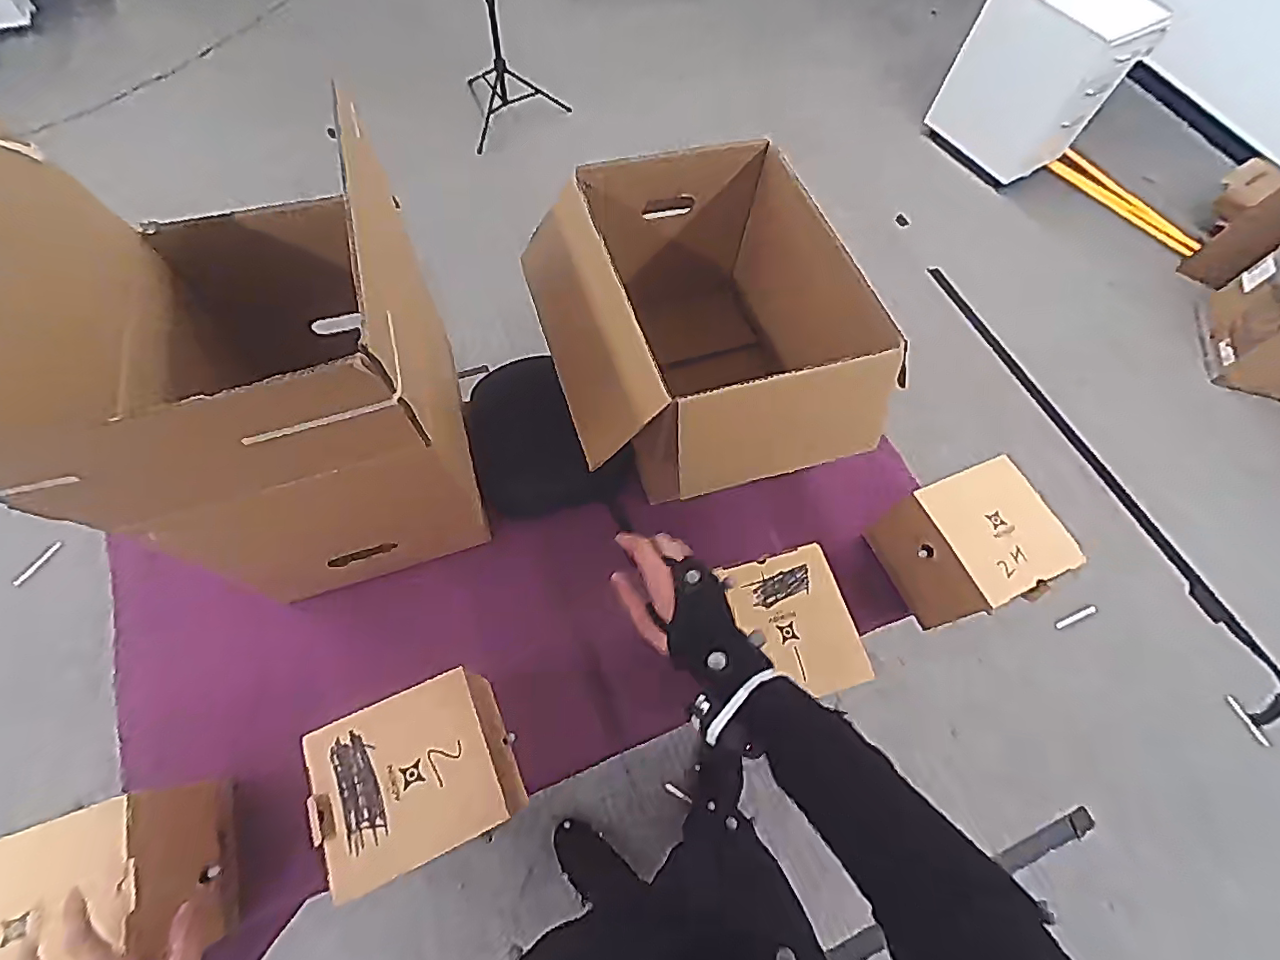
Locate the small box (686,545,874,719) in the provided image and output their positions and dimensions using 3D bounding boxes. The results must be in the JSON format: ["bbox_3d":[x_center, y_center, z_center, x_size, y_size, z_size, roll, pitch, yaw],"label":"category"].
[{"bbox_3d":[0.170,0.209,0.725,0.168,0.176,0.179,-13,68,-10],"label":"small box"}]

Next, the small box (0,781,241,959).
[{"bbox_3d":[-0.563,0.437,0.566,0.179,0.176,0.168,-17,67,-13],"label":"small box"}]

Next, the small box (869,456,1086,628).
[{"bbox_3d":[0.475,0.097,0.796,0.168,0.176,0.179,-20,68,-12],"label":"small box"}]
